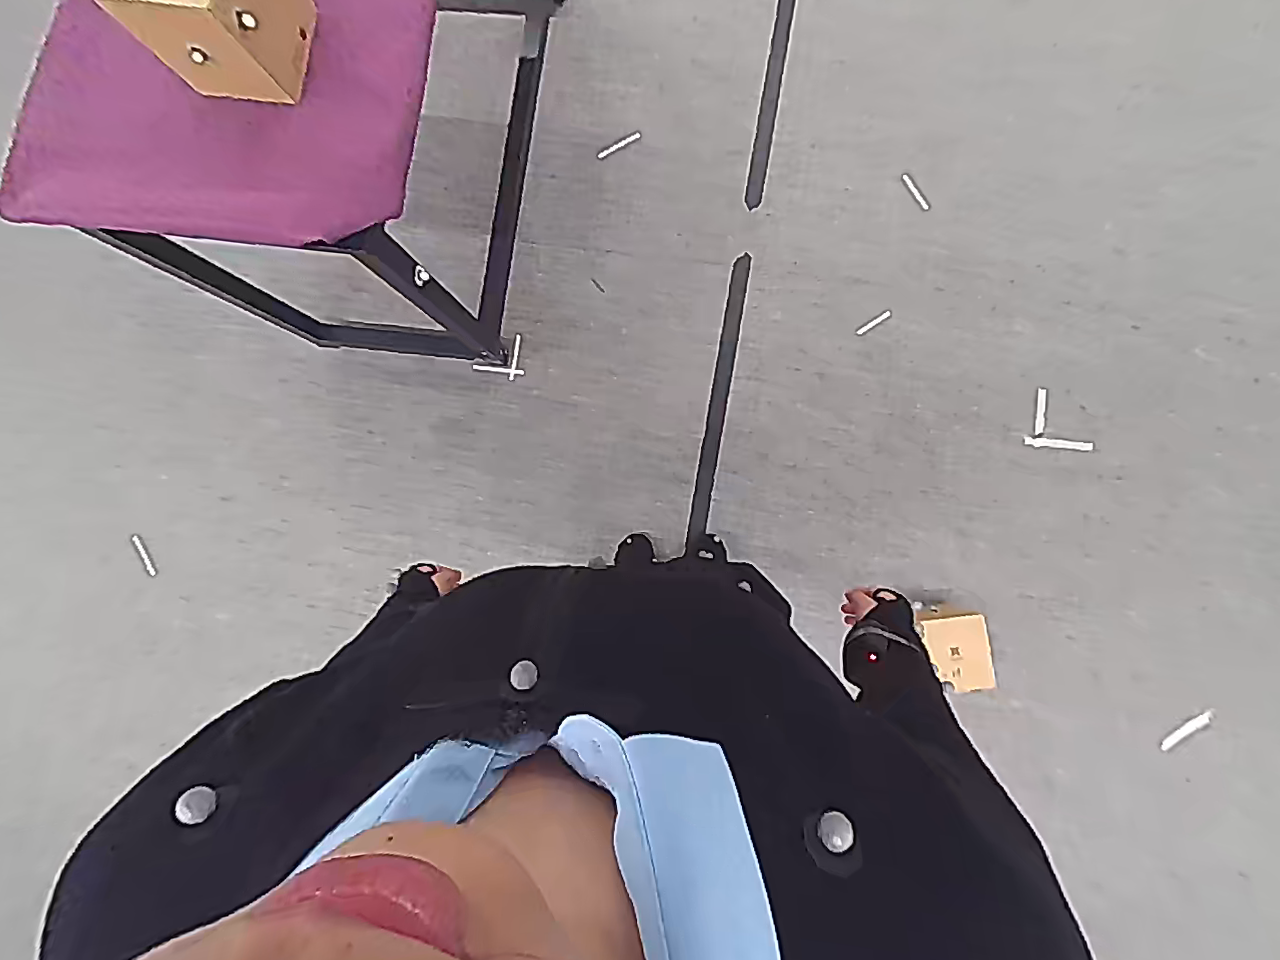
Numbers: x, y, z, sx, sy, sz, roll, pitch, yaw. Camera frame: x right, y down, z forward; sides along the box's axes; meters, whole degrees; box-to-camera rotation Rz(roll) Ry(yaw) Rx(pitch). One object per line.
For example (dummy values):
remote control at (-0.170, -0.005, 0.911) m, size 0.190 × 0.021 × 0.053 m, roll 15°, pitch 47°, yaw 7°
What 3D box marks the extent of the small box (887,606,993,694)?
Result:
small box at (0.744, 0.418, 1.359) m, size 0.168 × 0.176 × 0.179 m, roll -7°, pitch 86°, yaw 3°
